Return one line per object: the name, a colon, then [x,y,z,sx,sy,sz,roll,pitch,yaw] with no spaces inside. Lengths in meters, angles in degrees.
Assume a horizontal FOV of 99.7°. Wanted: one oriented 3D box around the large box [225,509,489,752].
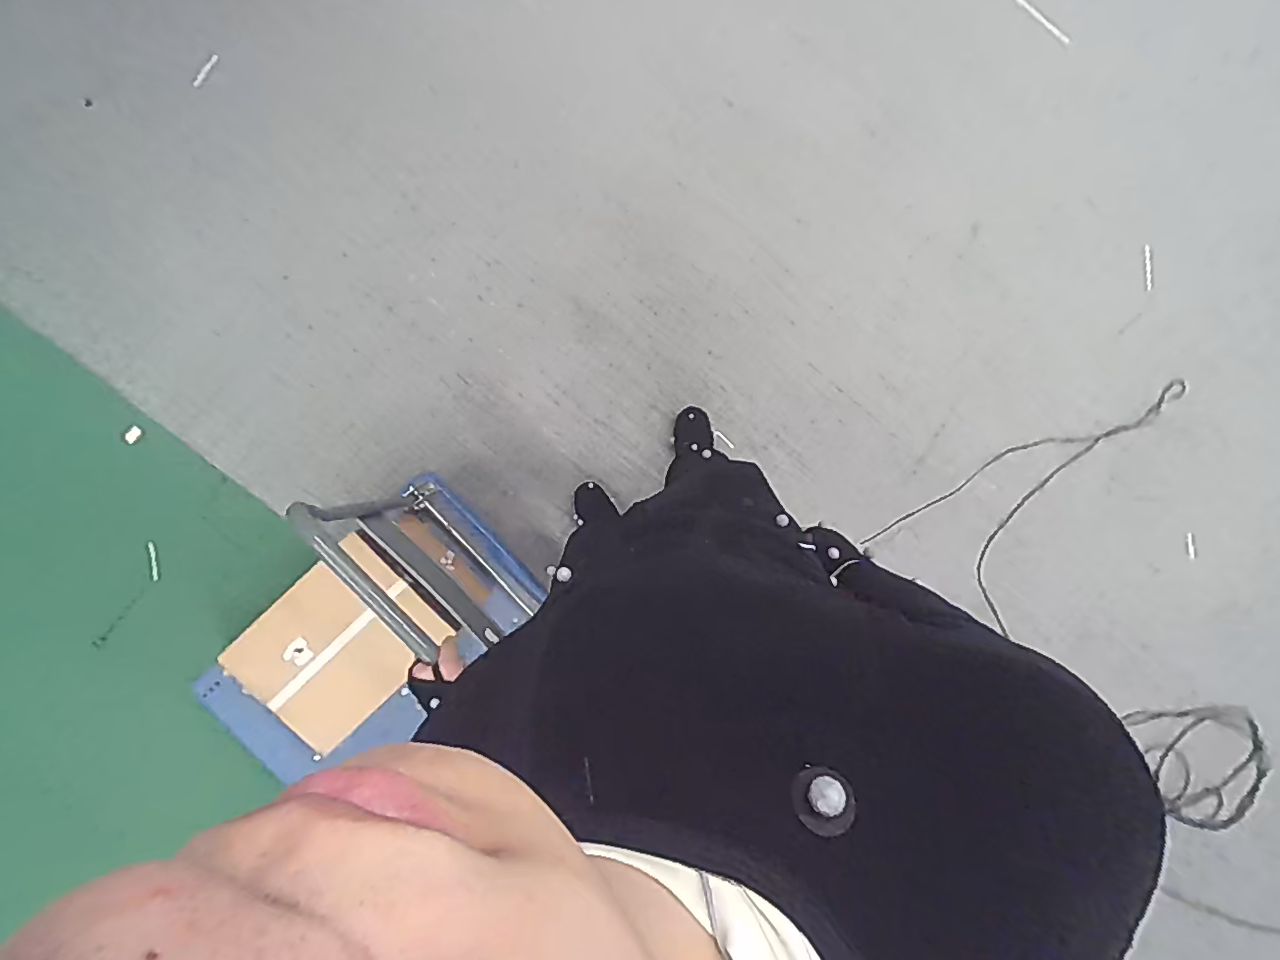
large box: [-0.637,0.329,1.292,0.408,0.320,0.320,-43,95,2]
